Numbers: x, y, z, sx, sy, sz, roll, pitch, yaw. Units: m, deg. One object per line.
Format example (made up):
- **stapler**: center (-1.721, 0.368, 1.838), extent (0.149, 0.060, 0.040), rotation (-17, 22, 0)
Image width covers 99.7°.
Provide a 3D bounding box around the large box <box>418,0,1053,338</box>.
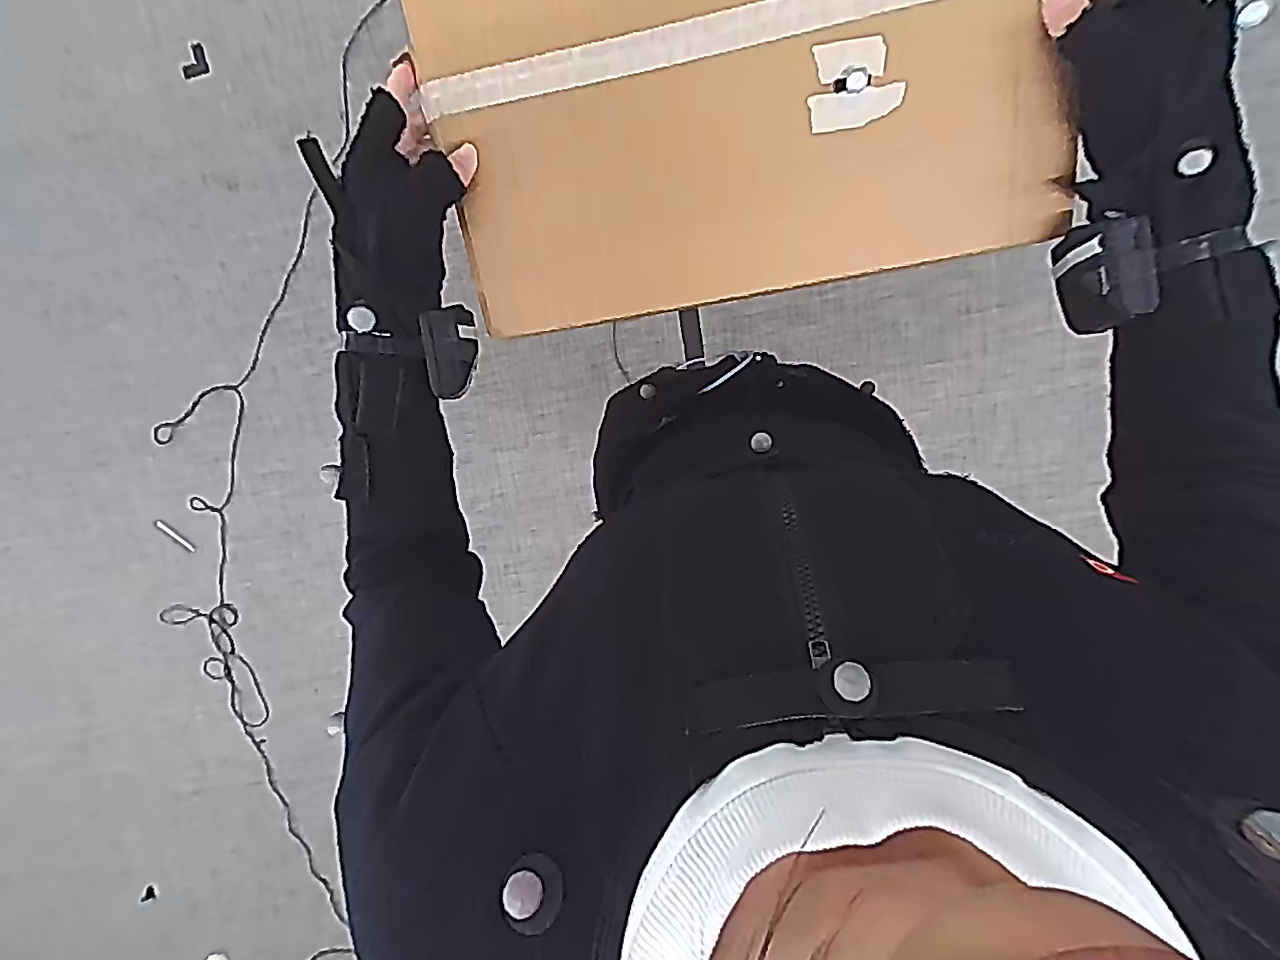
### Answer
- **large box**: center (0.066, -0.329, 0.496), extent (0.408, 0.320, 0.320), rotation (-9, 107, 6)
